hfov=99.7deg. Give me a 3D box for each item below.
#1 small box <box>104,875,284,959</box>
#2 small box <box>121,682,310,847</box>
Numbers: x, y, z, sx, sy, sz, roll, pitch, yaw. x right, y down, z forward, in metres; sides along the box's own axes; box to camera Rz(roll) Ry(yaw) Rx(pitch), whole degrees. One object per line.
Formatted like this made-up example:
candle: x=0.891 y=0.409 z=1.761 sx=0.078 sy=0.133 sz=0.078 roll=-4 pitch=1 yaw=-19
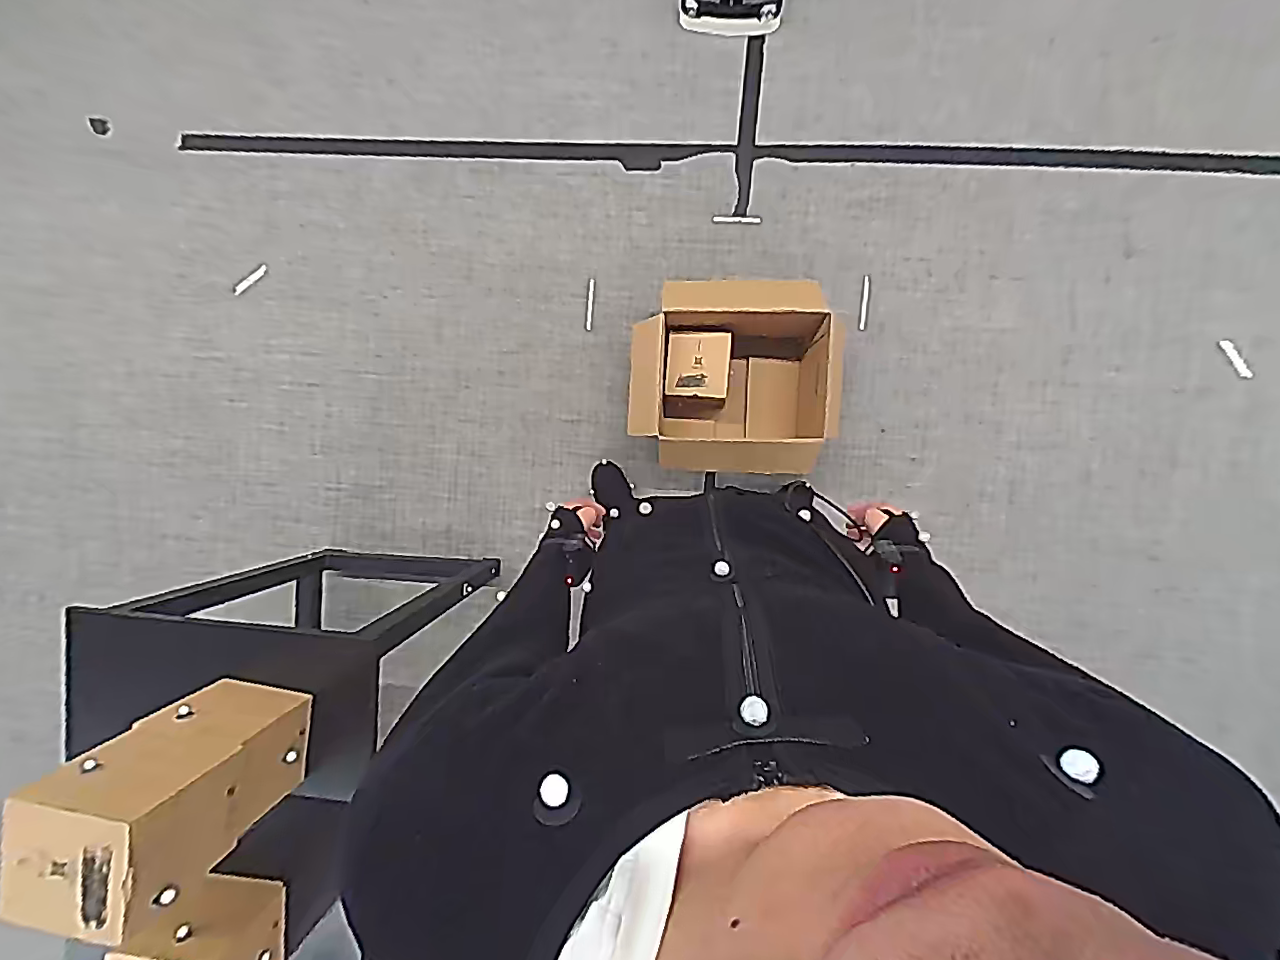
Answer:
small box: x=-0.757 y=0.823 z=0.928 sx=0.179 sy=0.176 sz=0.168 roll=4 pitch=93 yaw=4
small box: x=-0.694 y=0.457 z=0.899 sx=0.179 sy=0.176 sz=0.168 roll=9 pitch=95 yaw=4
